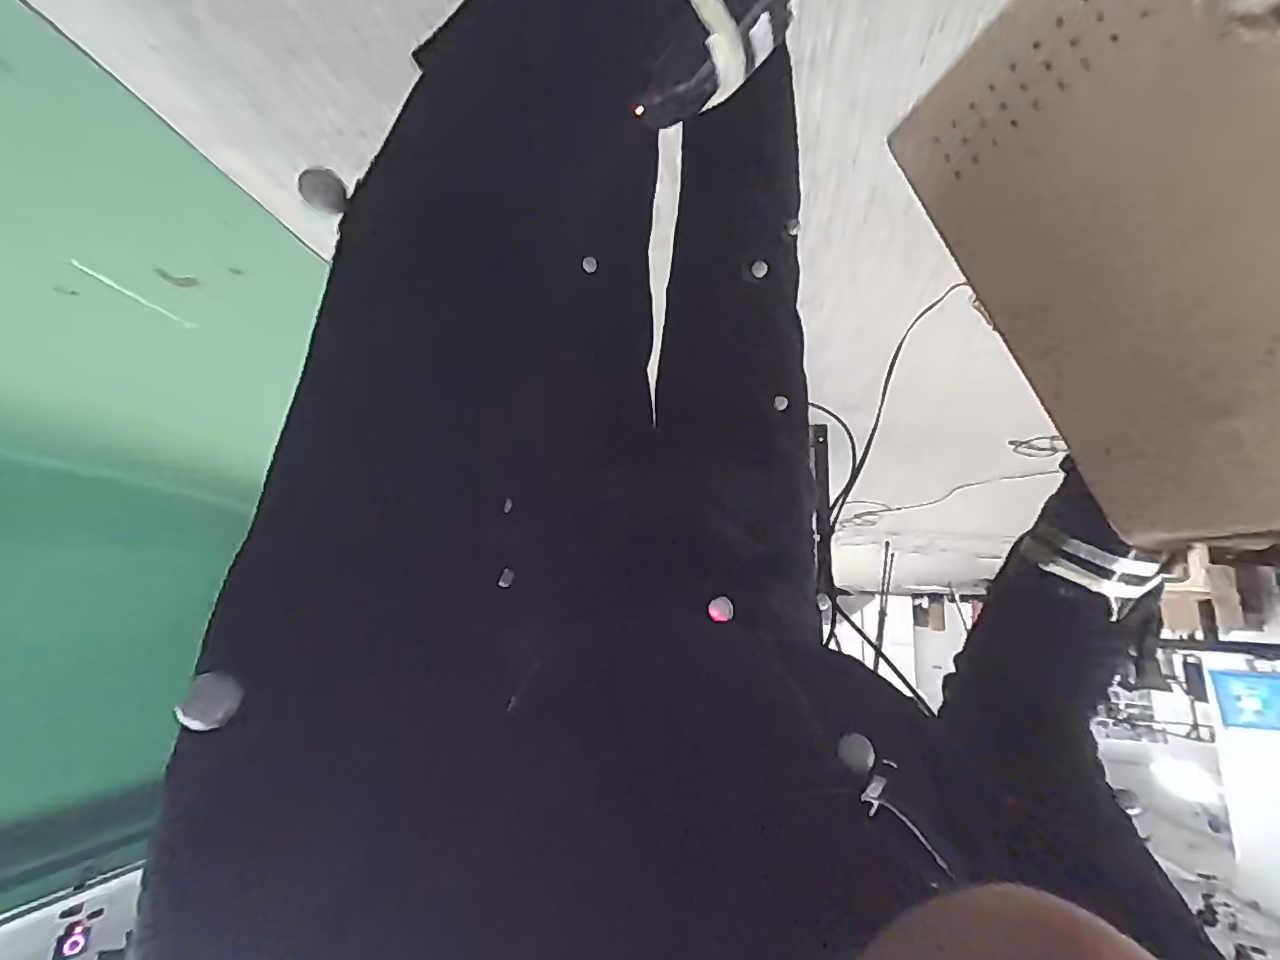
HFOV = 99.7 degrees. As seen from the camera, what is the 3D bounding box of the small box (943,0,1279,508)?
[{"bbox_3d":[0.216,-0.113,0.138,0.168,0.176,0.179,-28,178,-23],"label":"small box"}]
